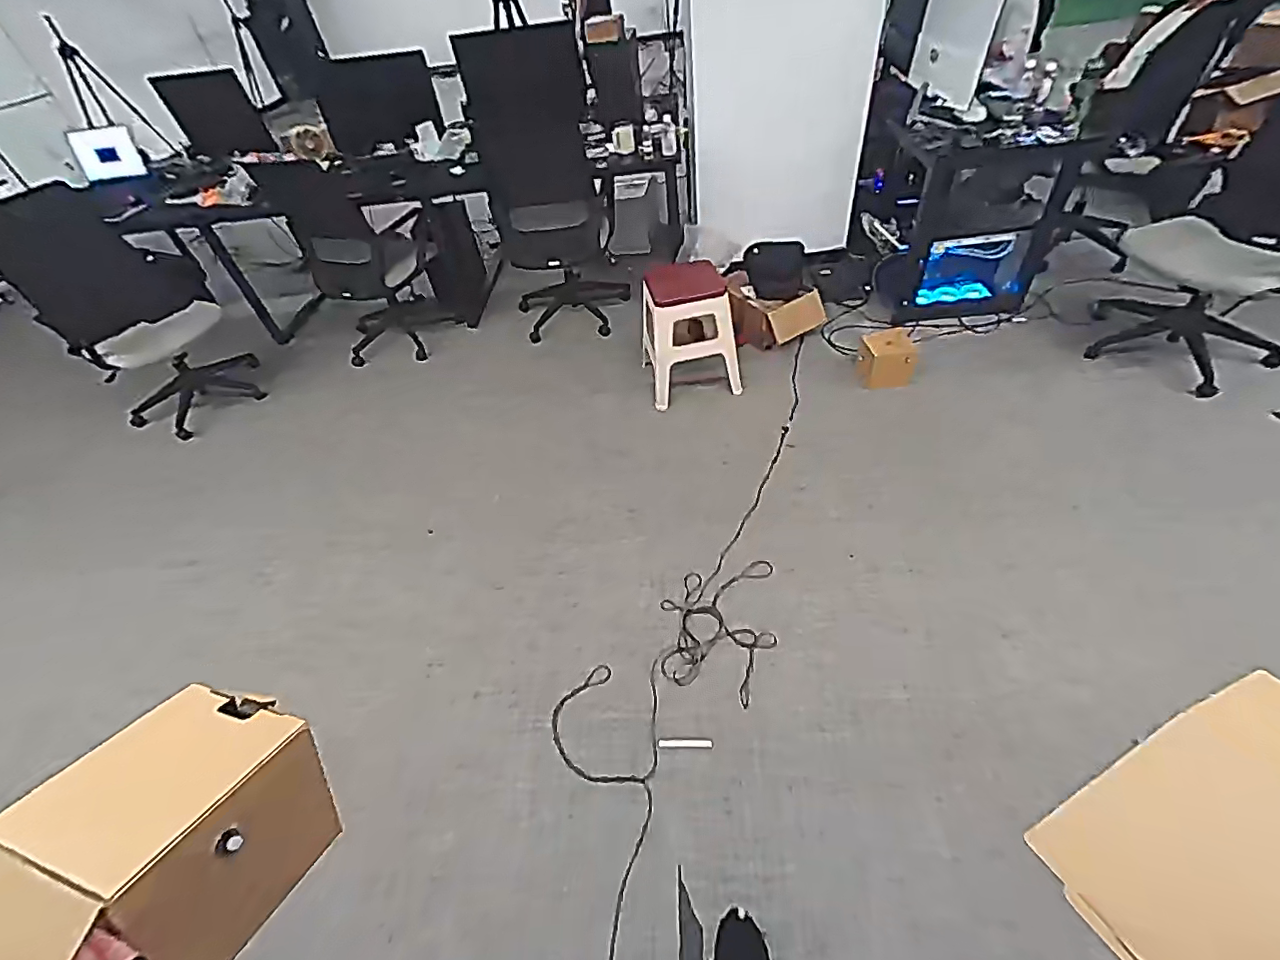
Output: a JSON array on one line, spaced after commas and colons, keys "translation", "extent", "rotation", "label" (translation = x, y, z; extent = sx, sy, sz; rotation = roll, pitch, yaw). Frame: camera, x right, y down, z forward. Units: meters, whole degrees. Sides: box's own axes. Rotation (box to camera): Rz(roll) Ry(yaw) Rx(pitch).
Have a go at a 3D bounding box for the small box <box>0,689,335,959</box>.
[{"translation": [-0.435, 0.344, 0.525], "extent": [0.168, 0.176, 0.179], "rotation": [7, 23, 17], "label": "small box"}]
